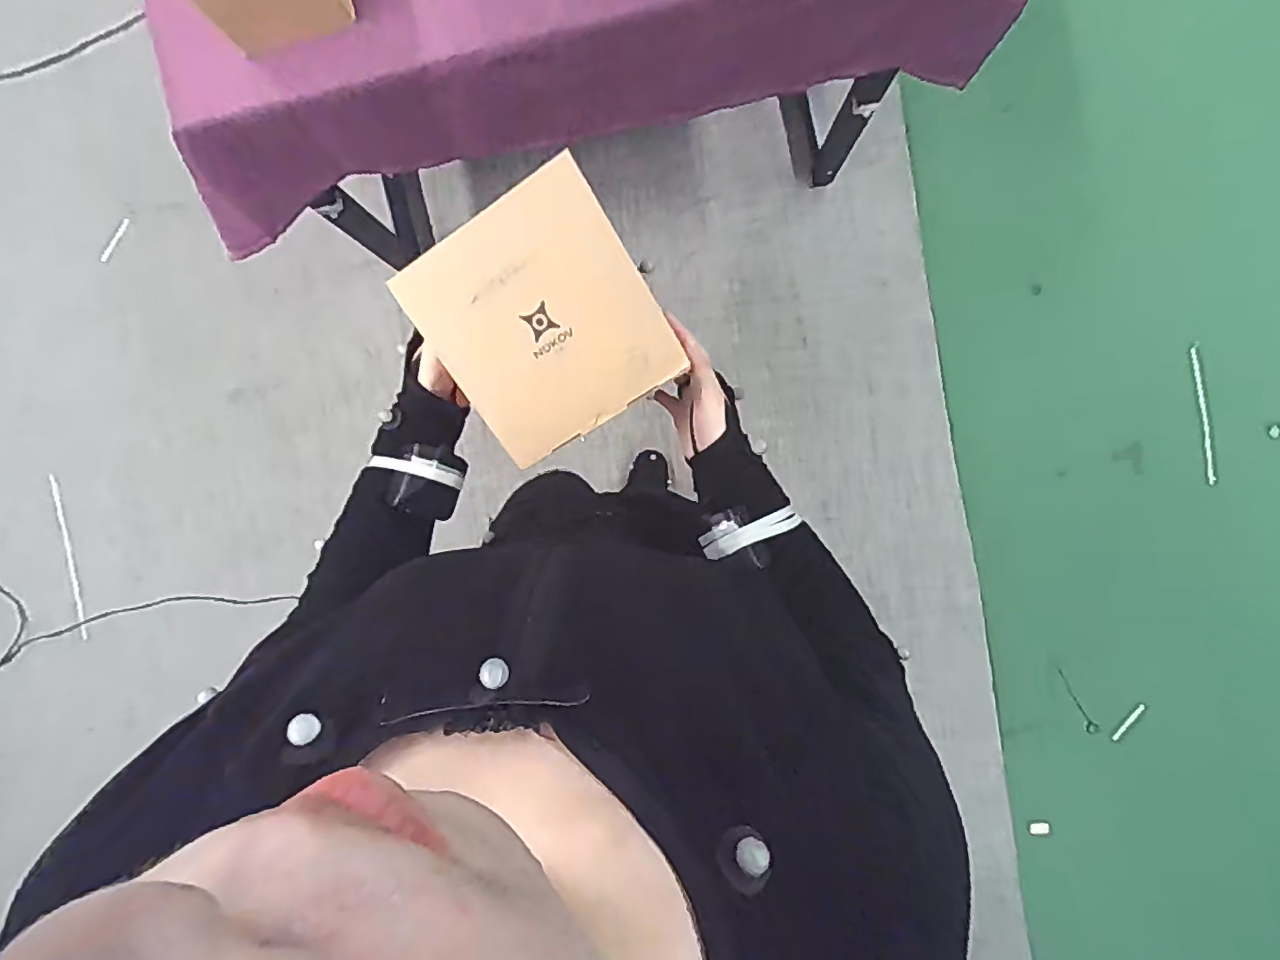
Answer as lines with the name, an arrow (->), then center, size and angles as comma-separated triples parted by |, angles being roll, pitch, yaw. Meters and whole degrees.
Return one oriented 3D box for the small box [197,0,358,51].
small box -> -0.504, -0.703, 0.693 | 0.179, 0.176, 0.168 | -14, 90, 2
